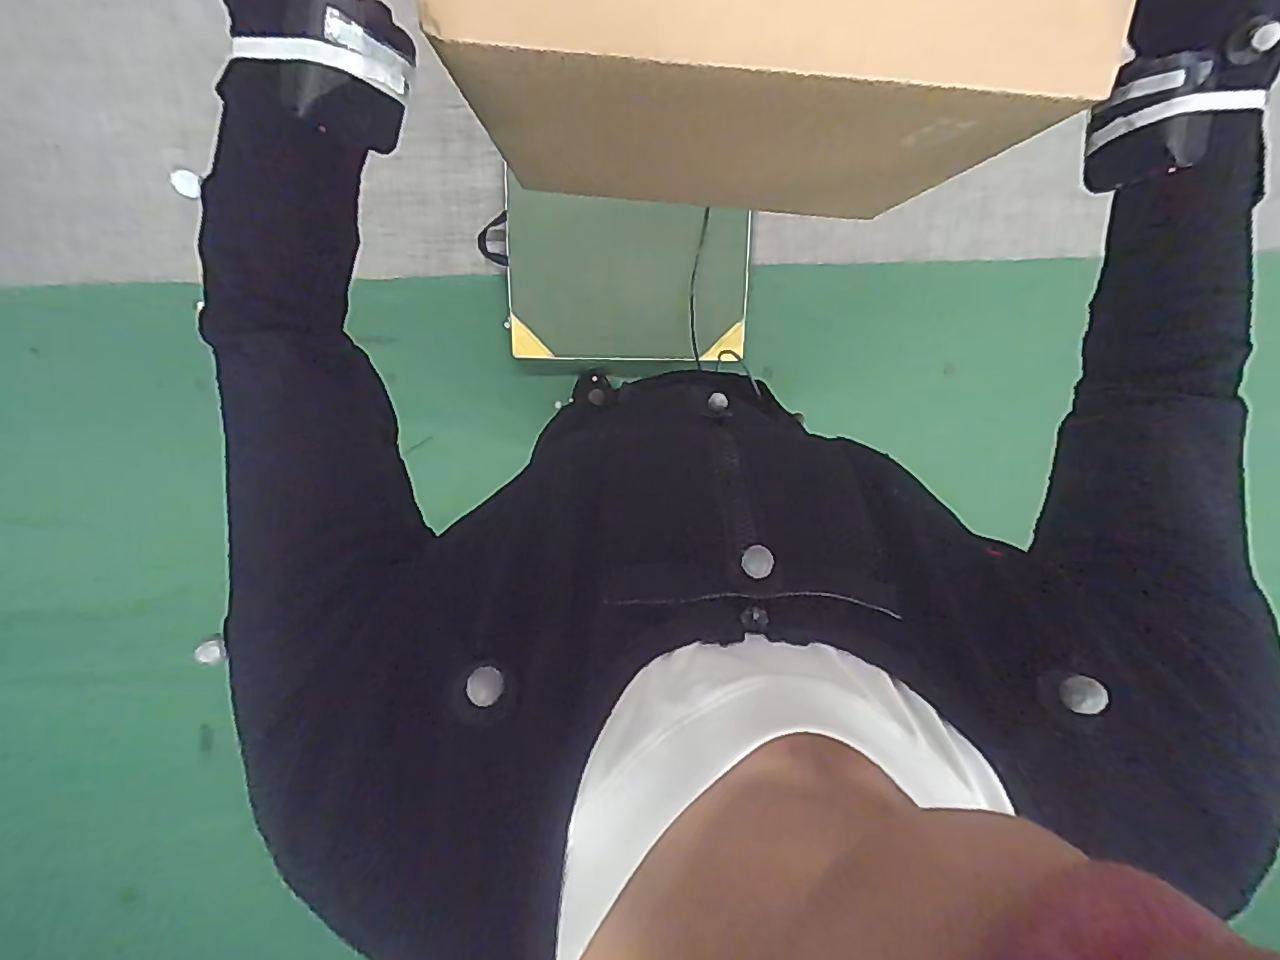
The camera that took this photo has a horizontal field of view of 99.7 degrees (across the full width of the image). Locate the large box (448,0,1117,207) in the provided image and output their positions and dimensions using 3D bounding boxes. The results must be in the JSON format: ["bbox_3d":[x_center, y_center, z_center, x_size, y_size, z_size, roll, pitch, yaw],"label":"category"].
[{"bbox_3d":[0.084,-0.431,0.431,0.408,0.320,0.320,3,104,-4],"label":"large box"}]
